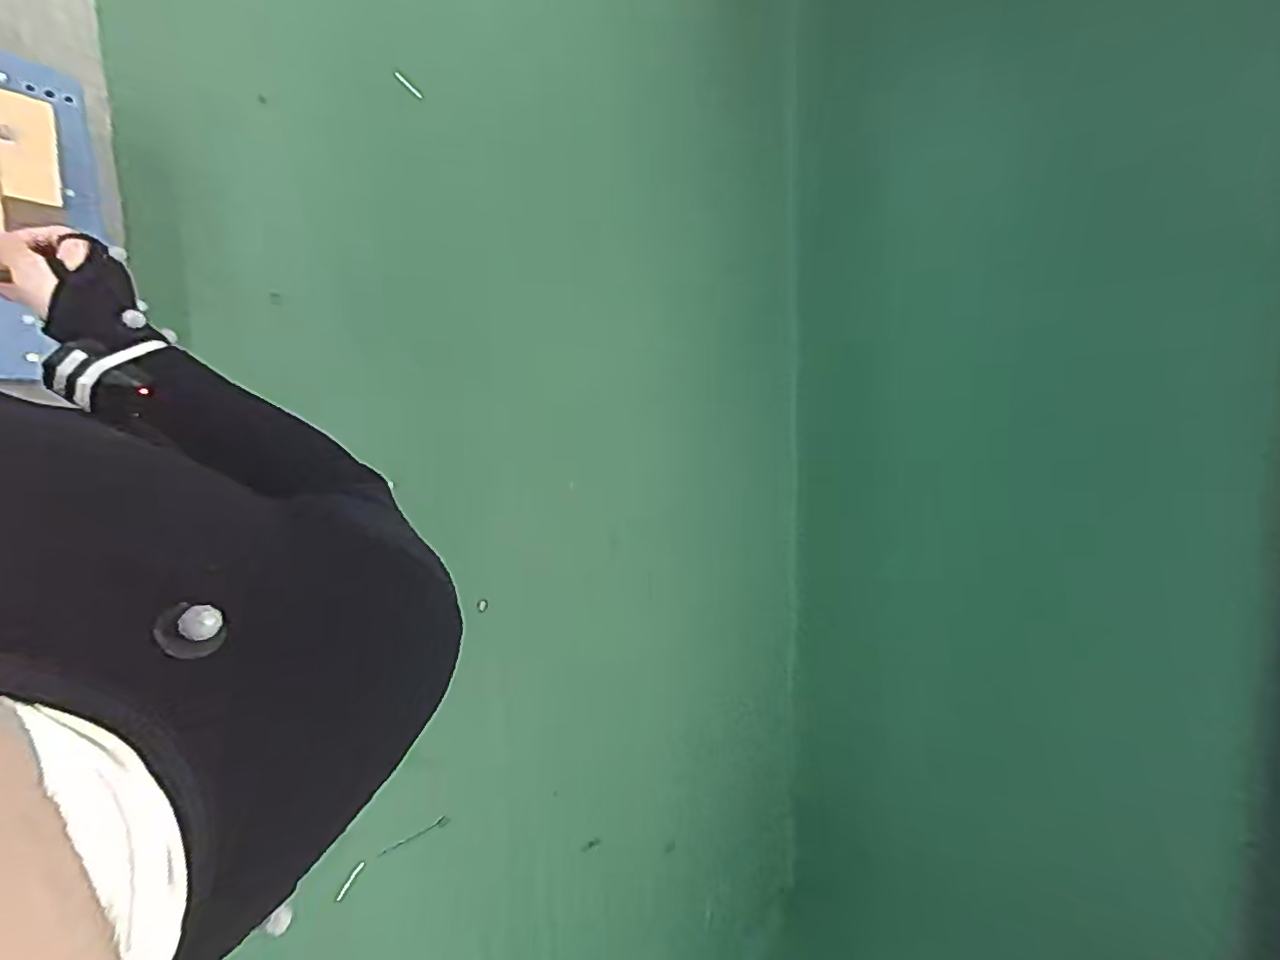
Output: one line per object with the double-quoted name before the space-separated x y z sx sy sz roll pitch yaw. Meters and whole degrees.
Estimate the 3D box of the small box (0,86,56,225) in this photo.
"small box" -1.088 -0.537 0.879 0.179 0.176 0.168 -5 97 -46
